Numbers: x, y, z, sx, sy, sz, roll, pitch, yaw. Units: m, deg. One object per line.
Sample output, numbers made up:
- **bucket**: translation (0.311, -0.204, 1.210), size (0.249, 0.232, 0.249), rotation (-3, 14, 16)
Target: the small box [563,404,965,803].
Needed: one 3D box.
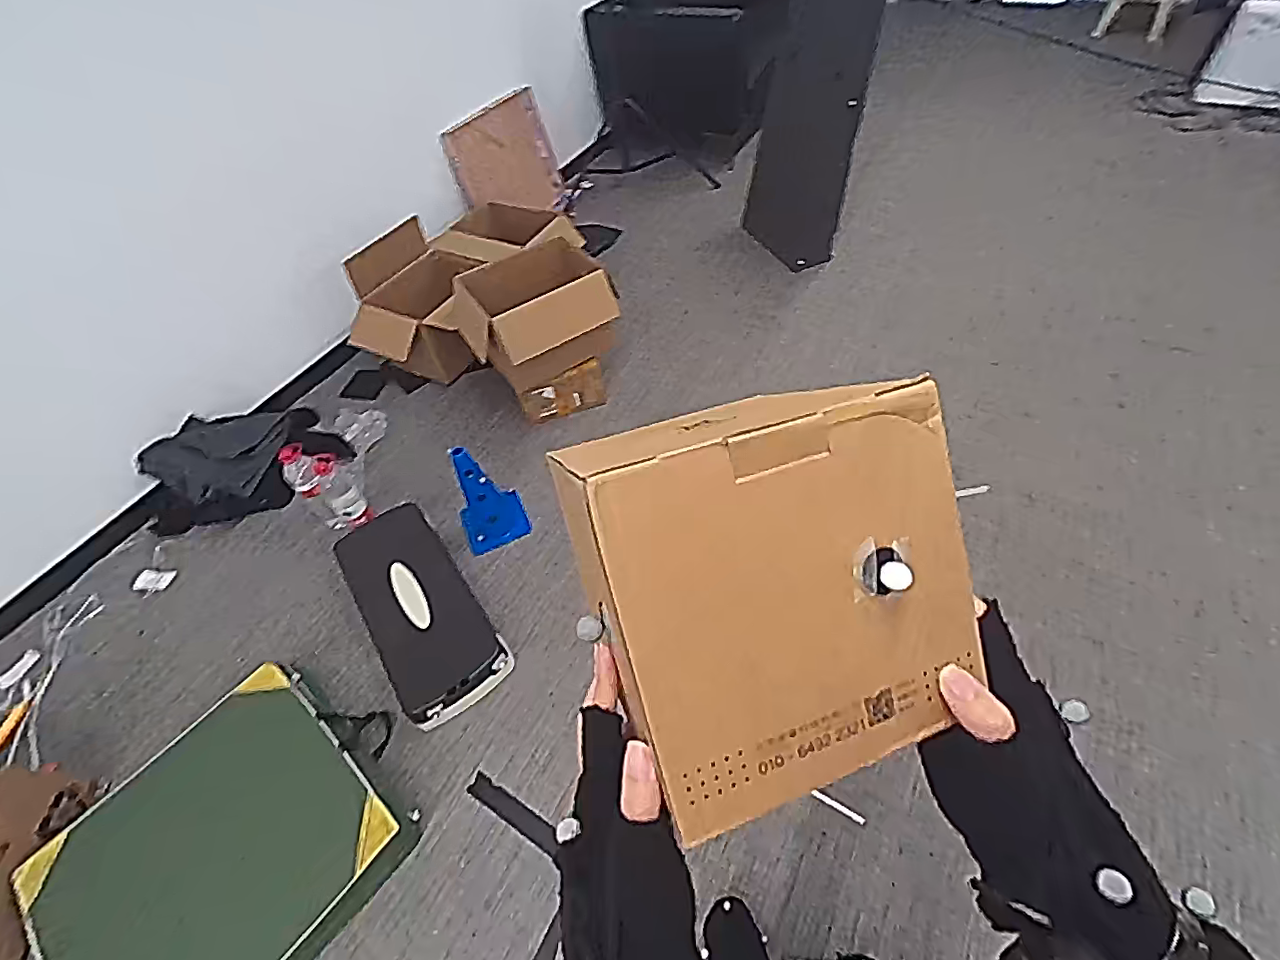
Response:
- **small box**: translation (0.060, 0.059, 0.330), size (0.168, 0.176, 0.179), rotation (-16, 9, -11)
